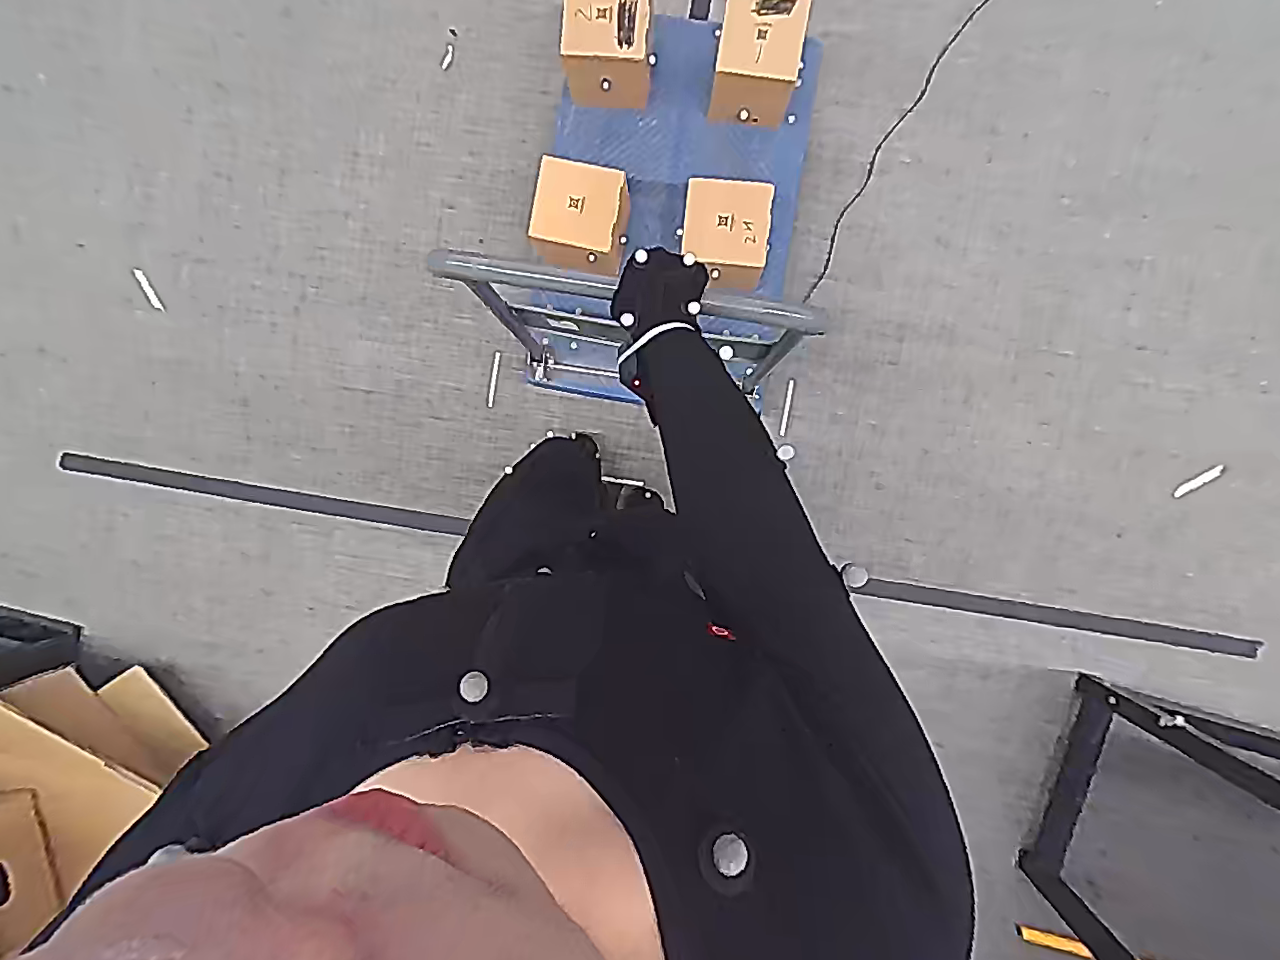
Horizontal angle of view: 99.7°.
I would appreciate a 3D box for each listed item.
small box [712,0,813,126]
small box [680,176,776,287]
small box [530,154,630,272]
[{"bbox_3d":[0.251,-0.895,1.143,0.168,0.176,0.179,10,95,2],"label":"small box"},{"bbox_3d":[0.182,-0.529,1.170,0.179,0.176,0.168,7,94,3],"label":"small box"},{"bbox_3d":[-0.124,-0.573,1.184,0.179,0.176,0.168,12,94,1],"label":"small box"}]
